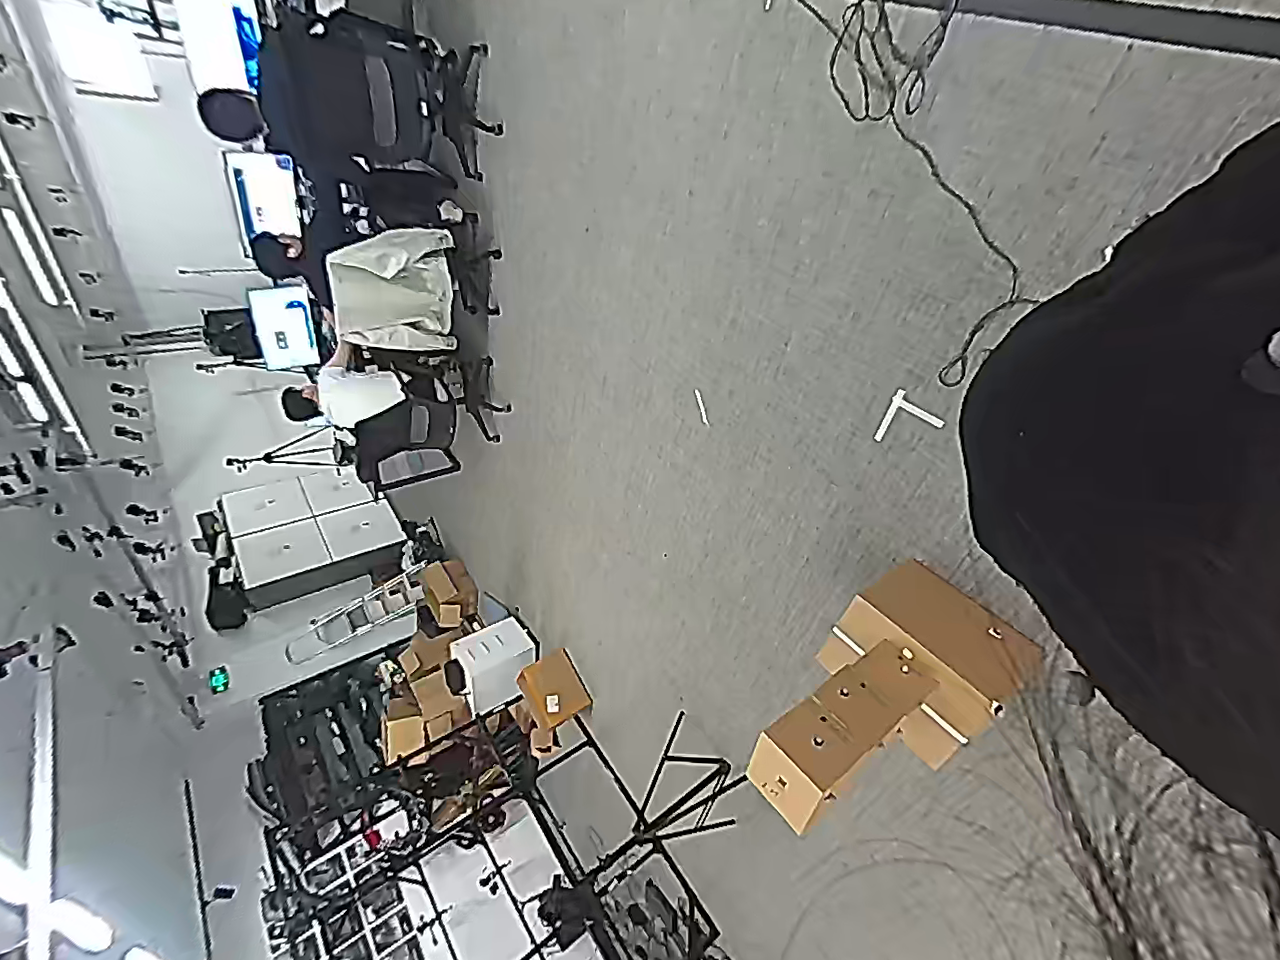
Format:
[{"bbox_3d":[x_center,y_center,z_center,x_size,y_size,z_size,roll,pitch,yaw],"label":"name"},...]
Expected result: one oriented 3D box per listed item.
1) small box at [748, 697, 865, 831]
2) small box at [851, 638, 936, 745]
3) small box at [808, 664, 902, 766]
[{"bbox_3d":[0.377,0.633,1.223,0.168,0.176,0.179,39,133,40],"label":"small box"},{"bbox_3d":[0.632,0.550,1.410,0.168,0.176,0.179,42,135,35],"label":"small box"},{"bbox_3d":[0.504,0.585,1.317,0.168,0.176,0.179,42,136,37],"label":"small box"}]
